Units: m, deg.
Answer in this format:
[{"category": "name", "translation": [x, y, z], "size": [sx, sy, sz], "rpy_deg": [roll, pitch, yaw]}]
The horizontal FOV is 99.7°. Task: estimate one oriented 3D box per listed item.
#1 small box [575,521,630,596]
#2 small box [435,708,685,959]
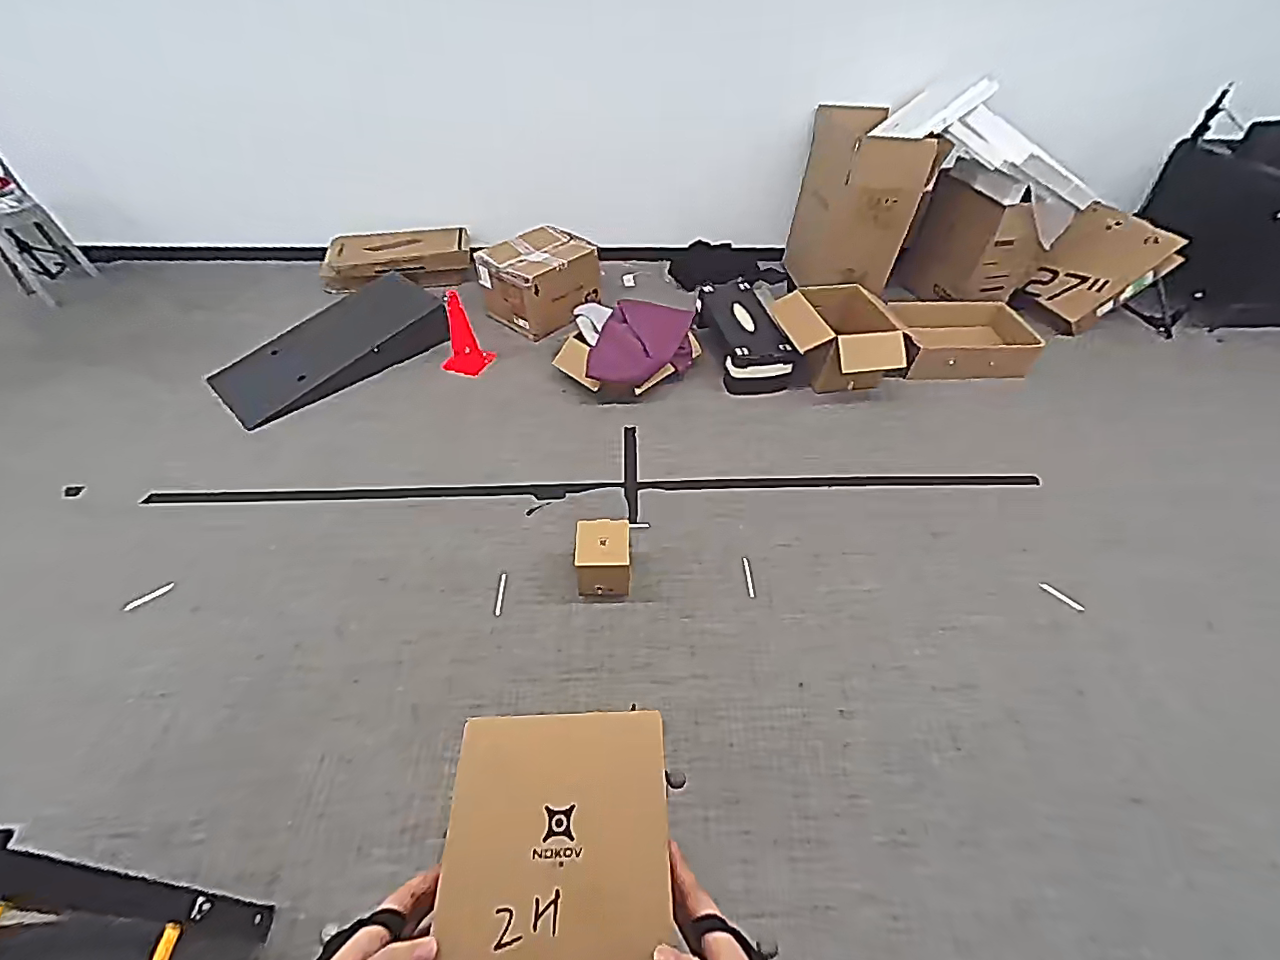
[{"category": "small box", "translation": [-0.116, 0.249, 1.717], "size": [0.168, 0.176, 0.179], "rpy_deg": [-2, 48, -2]}, {"category": "small box", "translation": [-0.053, 0.311, 0.457], "size": [0.168, 0.176, 0.179], "rpy_deg": [-3, 51, 0]}]
